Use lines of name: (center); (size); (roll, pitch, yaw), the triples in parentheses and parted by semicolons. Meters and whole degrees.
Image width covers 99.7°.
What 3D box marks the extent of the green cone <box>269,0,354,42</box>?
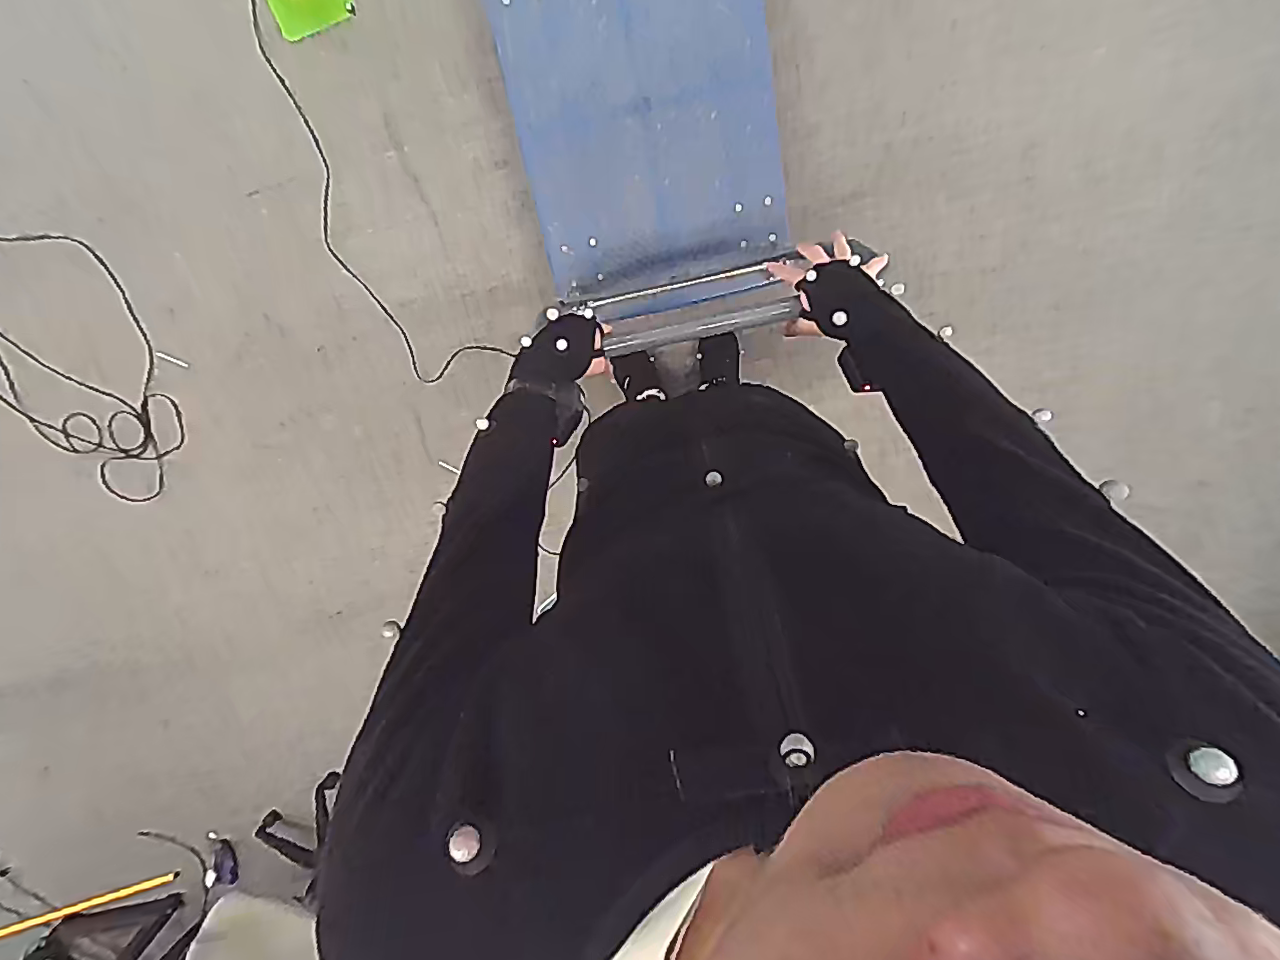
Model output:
green cone: (-0.812, -1.132, 1.123); (0.202, 0.368, 0.200); (-17, 107, 9)
